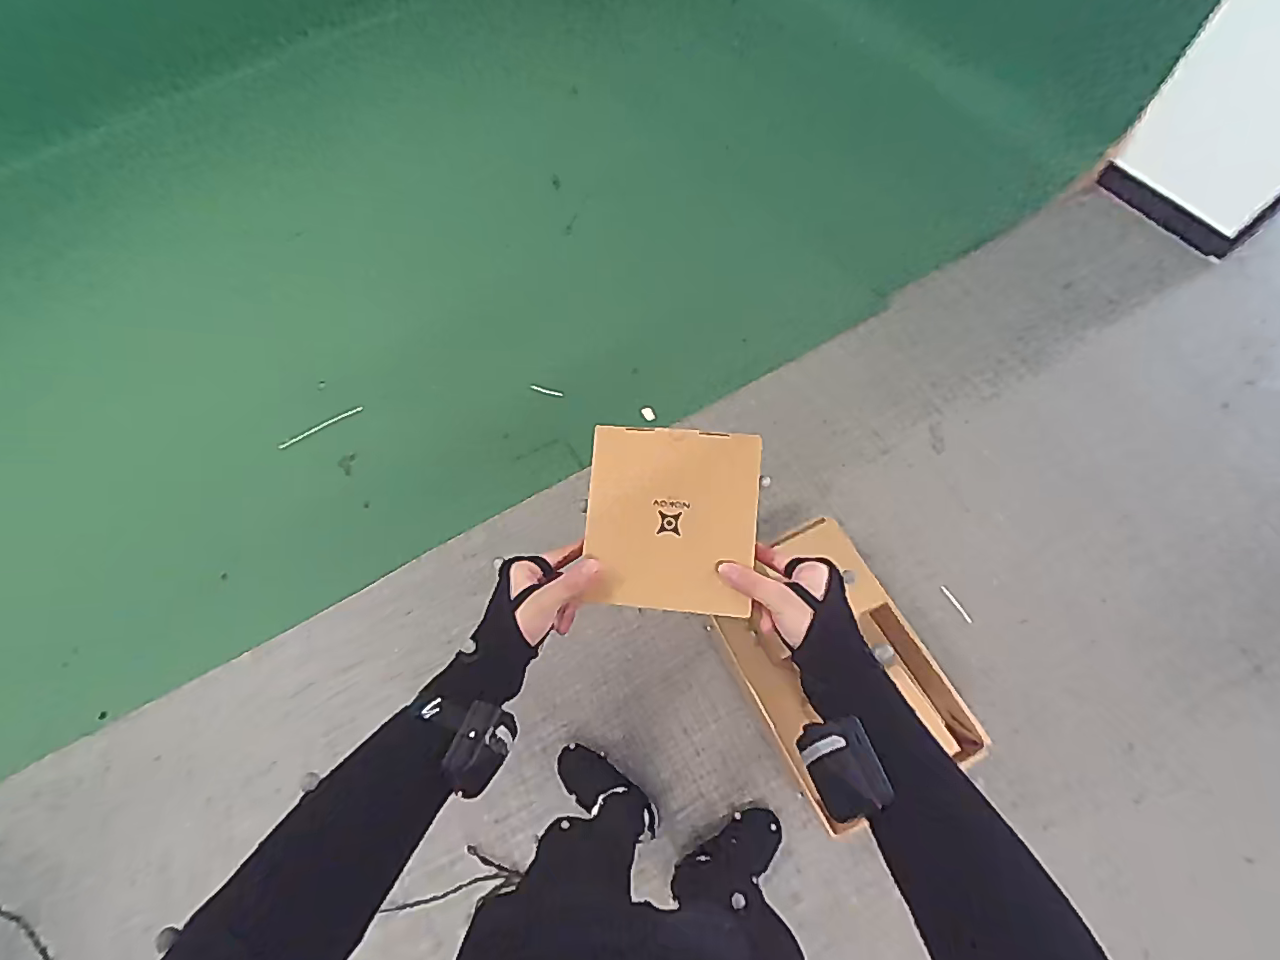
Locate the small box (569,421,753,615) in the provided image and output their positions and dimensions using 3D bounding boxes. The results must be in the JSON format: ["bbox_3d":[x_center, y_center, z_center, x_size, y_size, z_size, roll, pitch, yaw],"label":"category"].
[{"bbox_3d":[0.029,0.044,0.593,0.168,0.176,0.179,4,81,6],"label":"small box"}]

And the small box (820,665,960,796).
[{"bbox_3d":[0.483,0.495,1.080,0.168,0.176,0.179,-29,66,-4],"label":"small box"}]

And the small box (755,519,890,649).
[{"bbox_3d":[0.337,0.207,1.043,0.168,0.176,0.179,-26,66,-4],"label":"small box"}]
